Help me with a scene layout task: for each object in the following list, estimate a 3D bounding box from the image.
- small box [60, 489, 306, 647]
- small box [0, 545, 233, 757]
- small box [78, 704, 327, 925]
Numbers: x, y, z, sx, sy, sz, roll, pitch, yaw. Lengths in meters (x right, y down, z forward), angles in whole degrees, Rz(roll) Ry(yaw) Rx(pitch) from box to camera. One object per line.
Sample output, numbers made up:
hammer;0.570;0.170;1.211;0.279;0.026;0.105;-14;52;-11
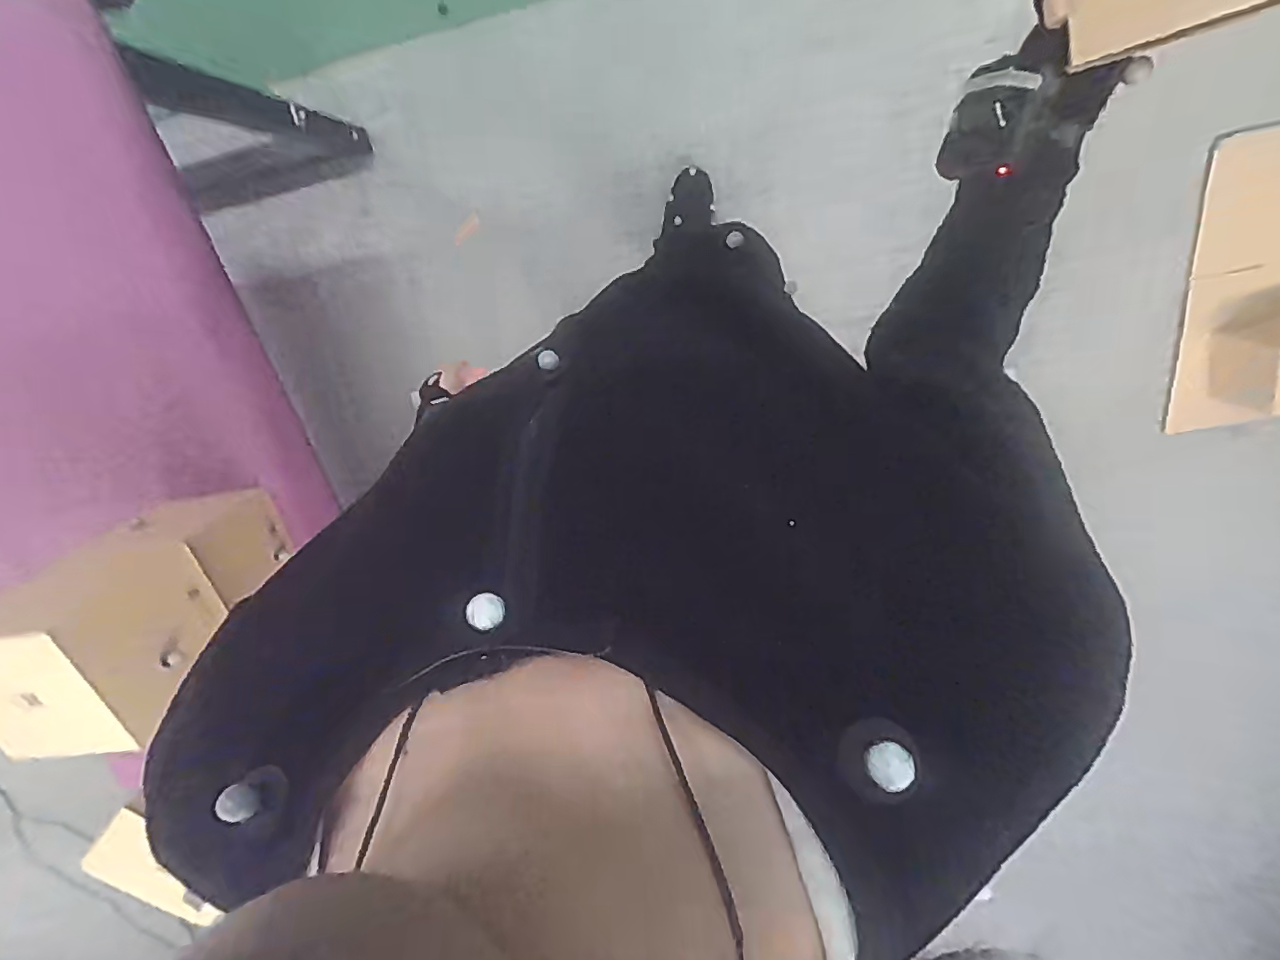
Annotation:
small box;-0.636;0.127;0.779;0.179;0.176;0.168;-8;114;7
small box;-0.627;0.190;0.629;0.179;0.176;0.168;-8;115;8
small box;-0.577;0.447;0.737;0.179;0.176;0.168;41;110;-13
